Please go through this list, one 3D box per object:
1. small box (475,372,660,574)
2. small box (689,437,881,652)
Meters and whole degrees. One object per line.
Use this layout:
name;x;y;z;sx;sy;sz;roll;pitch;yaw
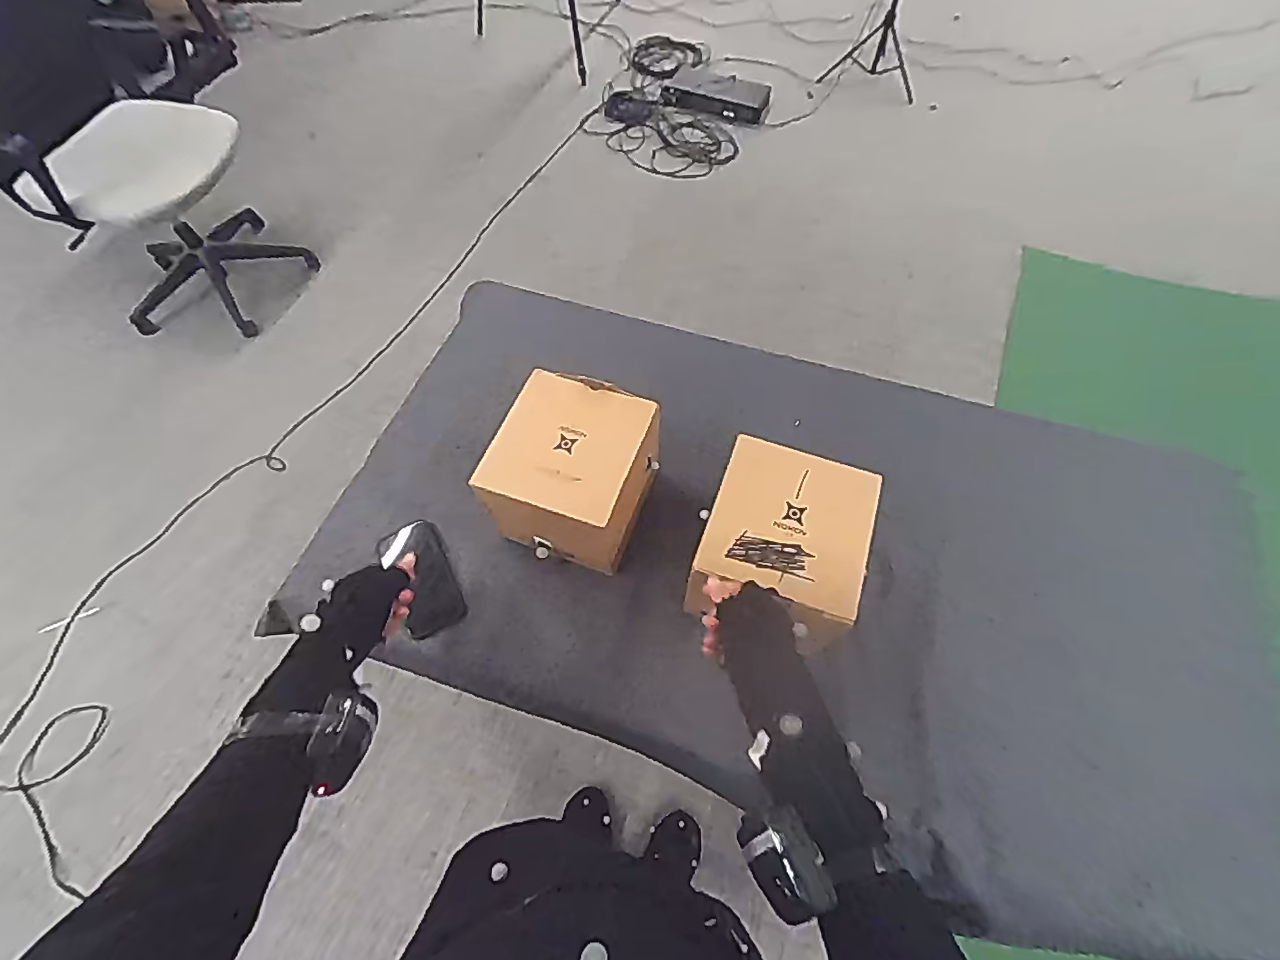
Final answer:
small box;-0.079;-0.004;0.693;0.168;0.176;0.179;16;64;11
small box;0.160;0.083;0.640;0.168;0.176;0.179;18;62;11
